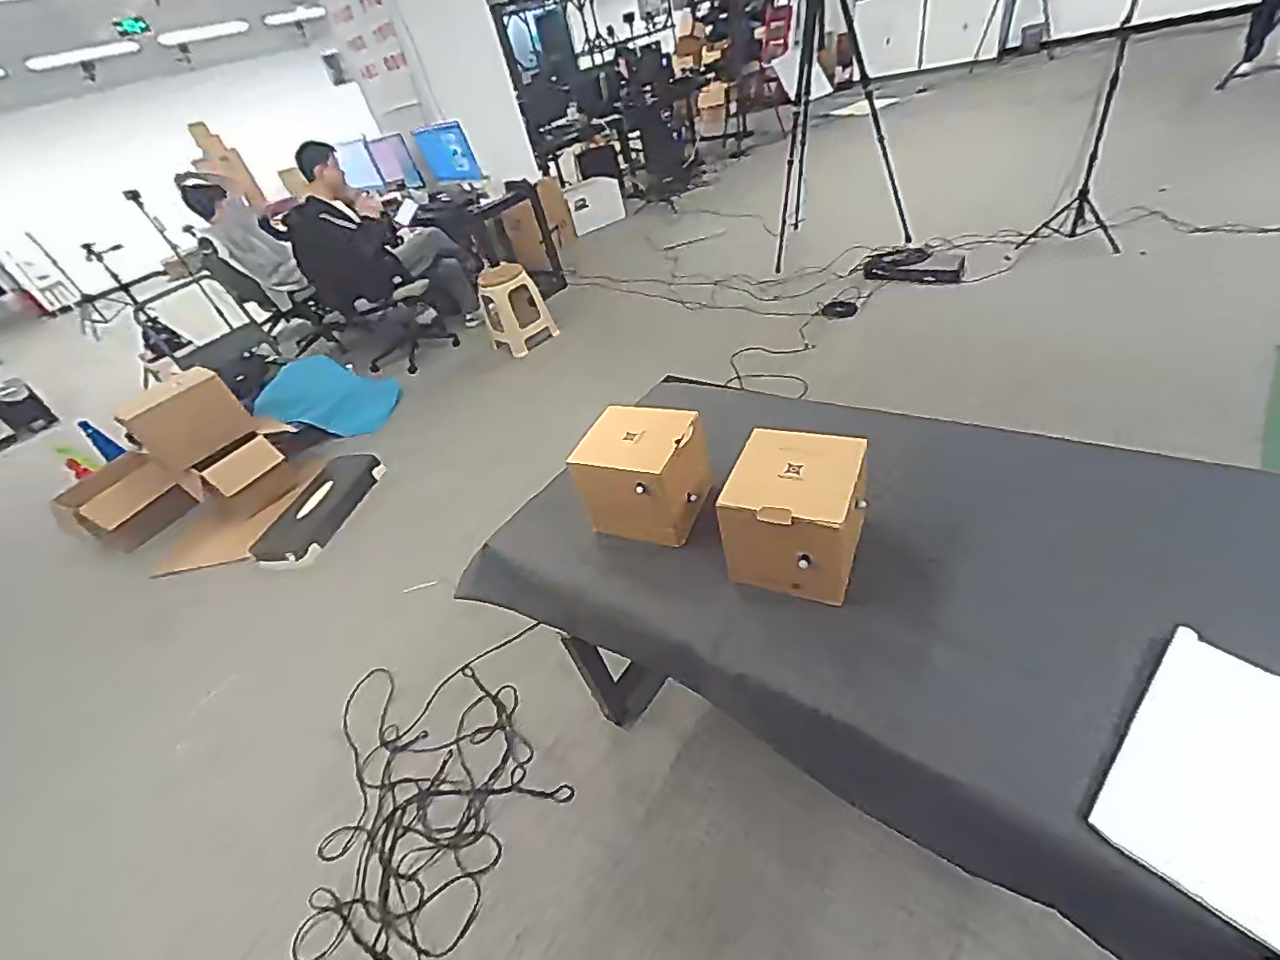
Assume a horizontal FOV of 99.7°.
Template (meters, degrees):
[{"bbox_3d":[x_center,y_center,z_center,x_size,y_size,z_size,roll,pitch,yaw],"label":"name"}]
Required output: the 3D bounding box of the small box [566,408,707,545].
[{"bbox_3d":[0.004,-0.008,0.940,0.179,0.176,0.168,8,44,26],"label":"small box"}]

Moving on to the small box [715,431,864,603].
[{"bbox_3d":[0.224,0.051,0.791,0.168,0.176,0.179,10,44,27],"label":"small box"}]
